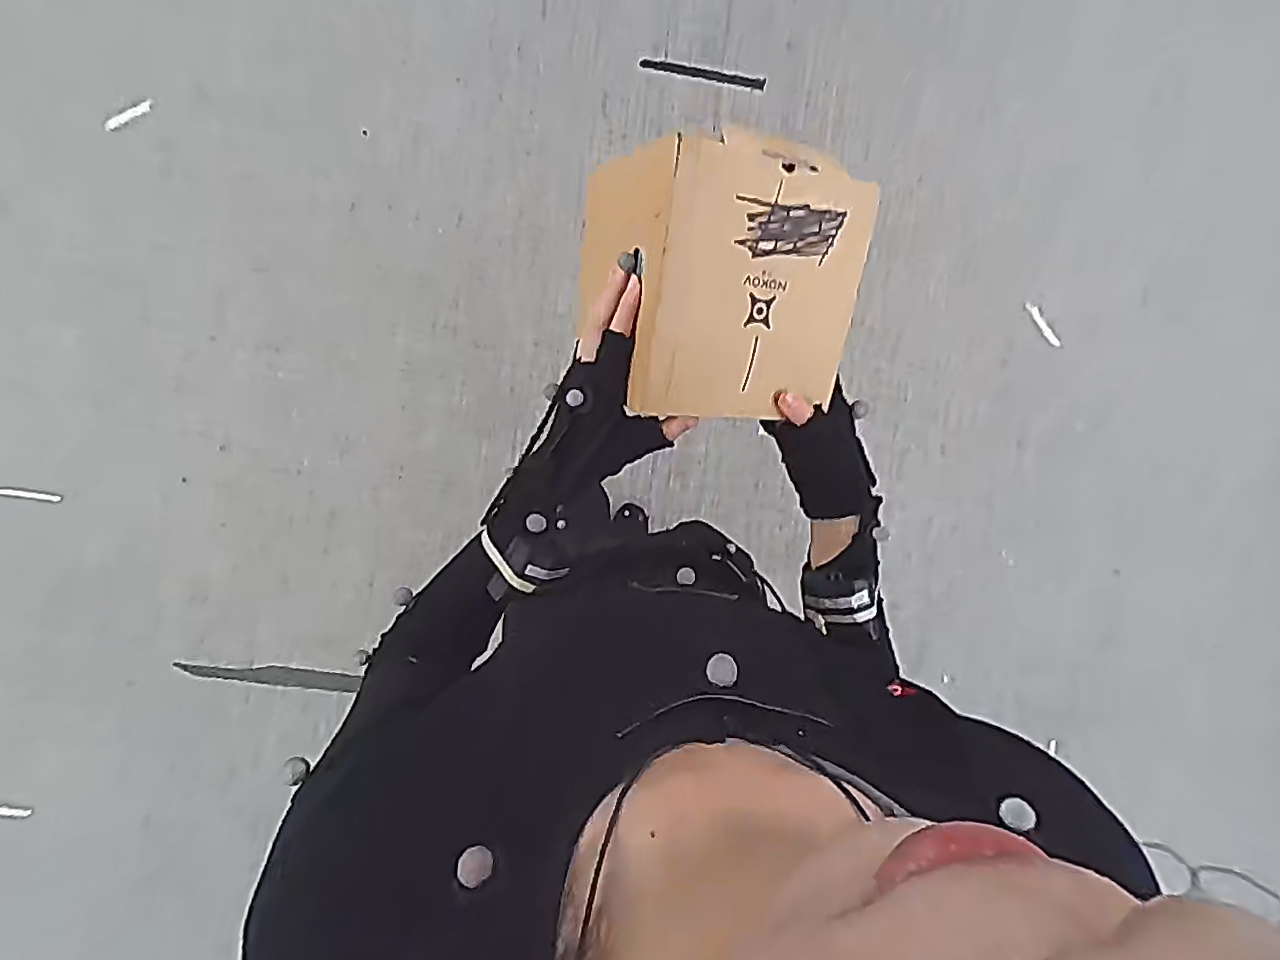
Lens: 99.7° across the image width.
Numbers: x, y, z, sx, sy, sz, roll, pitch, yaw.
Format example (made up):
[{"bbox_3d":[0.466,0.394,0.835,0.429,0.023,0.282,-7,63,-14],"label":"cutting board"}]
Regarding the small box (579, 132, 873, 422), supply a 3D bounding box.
[{"bbox_3d":[0.054,-0.155,0.453,0.168,0.176,0.179,0,110,-24],"label":"small box"}]
